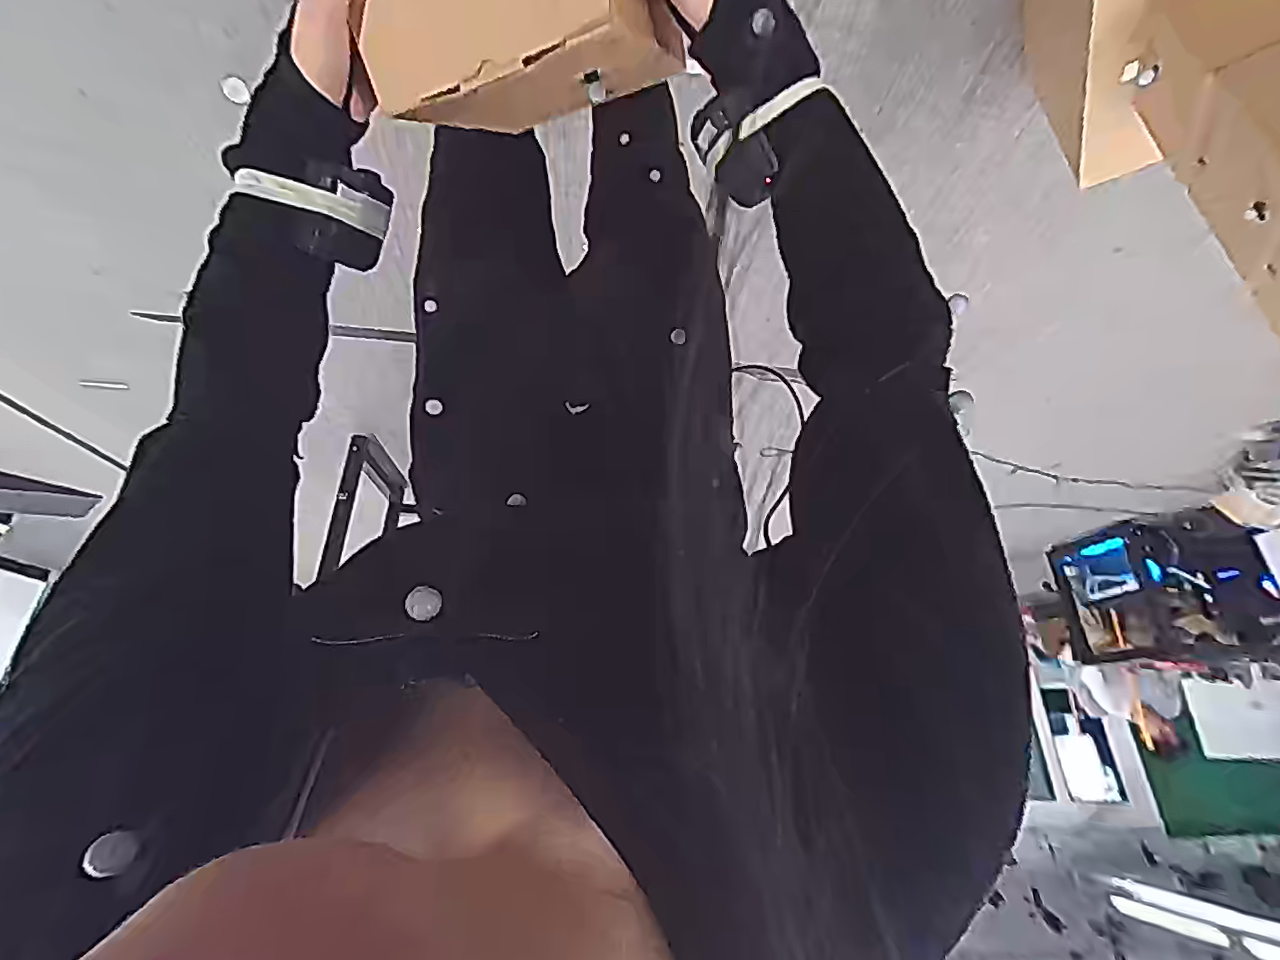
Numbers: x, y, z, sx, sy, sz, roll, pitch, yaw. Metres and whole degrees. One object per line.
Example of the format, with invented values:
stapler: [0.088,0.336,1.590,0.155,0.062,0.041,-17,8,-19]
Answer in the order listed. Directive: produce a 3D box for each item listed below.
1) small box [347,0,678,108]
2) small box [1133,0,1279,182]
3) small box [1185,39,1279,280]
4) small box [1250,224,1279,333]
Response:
small box: [-0.084,-0.361,0.346,0.168,0.176,0.179,-5,117,21]
small box: [0.712,-0.497,0.614,0.179,0.176,0.168,-15,151,31]
small box: [0.714,-0.348,0.544,0.179,0.176,0.168,-16,151,30]
small box: [0.714,-0.198,0.480,0.179,0.176,0.168,-16,151,31]
